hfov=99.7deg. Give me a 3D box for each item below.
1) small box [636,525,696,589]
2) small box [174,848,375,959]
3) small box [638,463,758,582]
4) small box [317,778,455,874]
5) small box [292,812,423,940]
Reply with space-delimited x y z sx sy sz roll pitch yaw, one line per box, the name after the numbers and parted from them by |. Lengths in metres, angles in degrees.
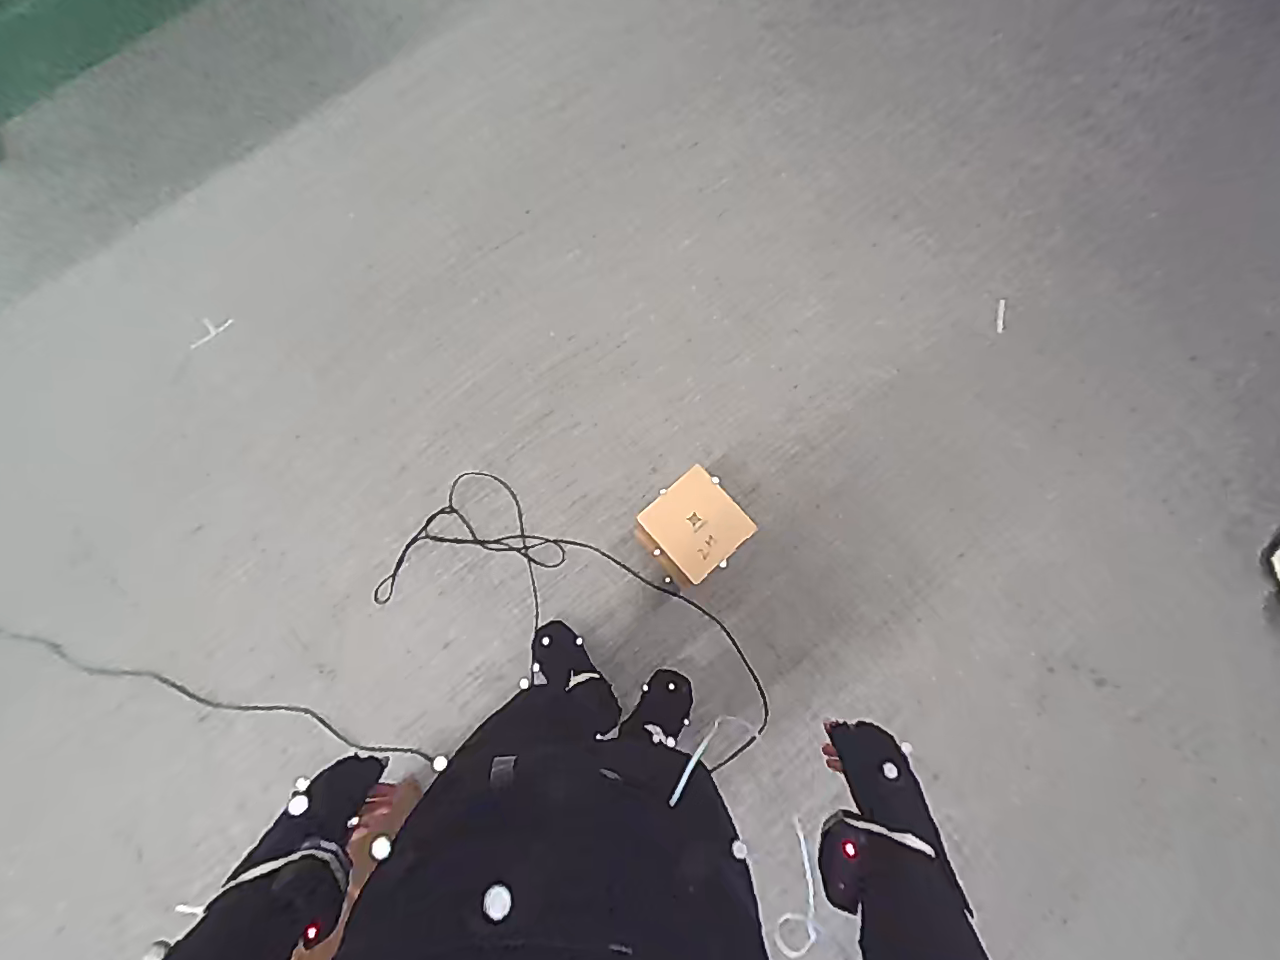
0.107 0.136 1.273 0.168 0.176 0.179 -40 81 -7 | small box
-0.550 0.728 0.838 0.168 0.176 0.179 -31 80 -4 | small box
0.111 0.096 1.113 0.168 0.176 0.179 -41 82 -6 | small box
-0.536 0.778 1.163 0.168 0.176 0.179 -40 80 -3 | small box
-0.540 0.754 0.998 0.168 0.176 0.179 -36 82 -5 | small box
